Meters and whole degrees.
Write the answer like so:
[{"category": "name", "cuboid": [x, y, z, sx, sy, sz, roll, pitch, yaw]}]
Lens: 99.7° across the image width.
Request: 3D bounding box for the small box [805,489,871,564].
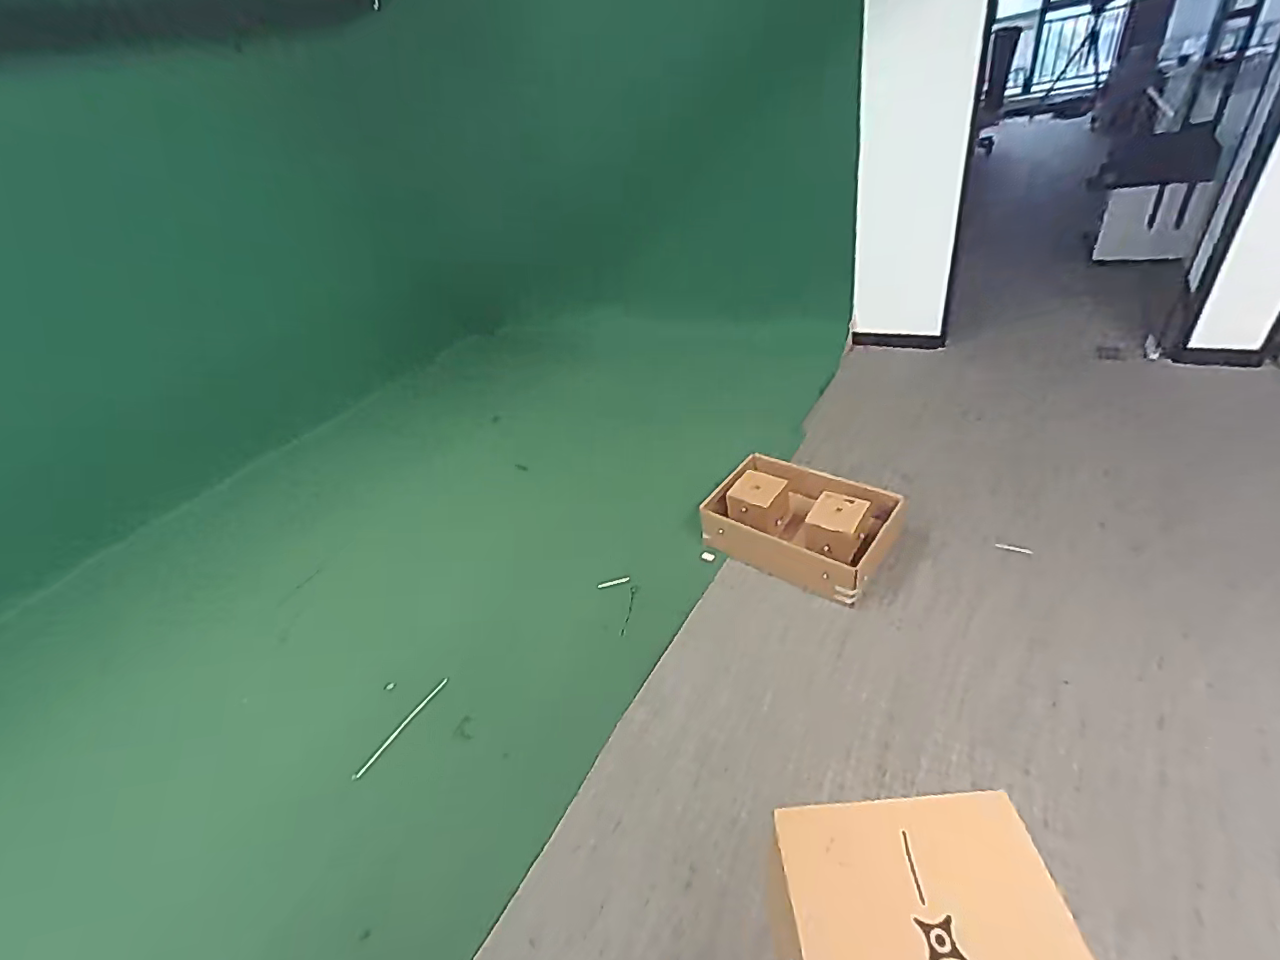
[{"category": "small box", "cuboid": [0.693, 0.163, 1.884, 0.168, 0.176, 0.179, 17, 48, 35]}]
